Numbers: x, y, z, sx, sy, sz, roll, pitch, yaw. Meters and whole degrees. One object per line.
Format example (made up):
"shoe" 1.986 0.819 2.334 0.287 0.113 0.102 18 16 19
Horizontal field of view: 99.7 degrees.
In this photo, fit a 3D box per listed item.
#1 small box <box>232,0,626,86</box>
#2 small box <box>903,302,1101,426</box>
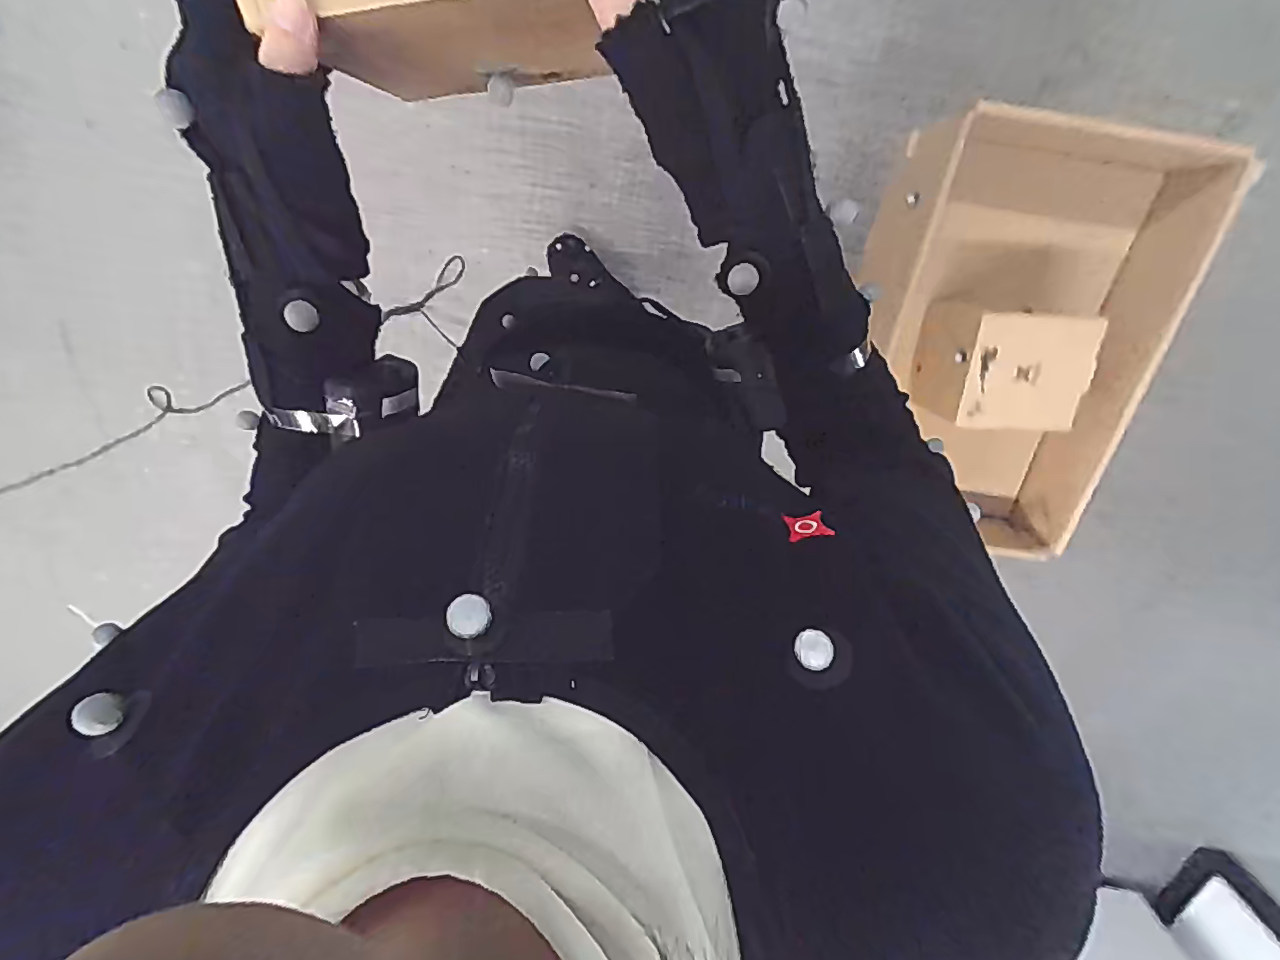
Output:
"small box" -0.097 -0.311 0.249 0.168 0.176 0.179 -5 118 3
"small box" 0.552 -0.189 0.853 0.179 0.176 0.168 2 112 0
